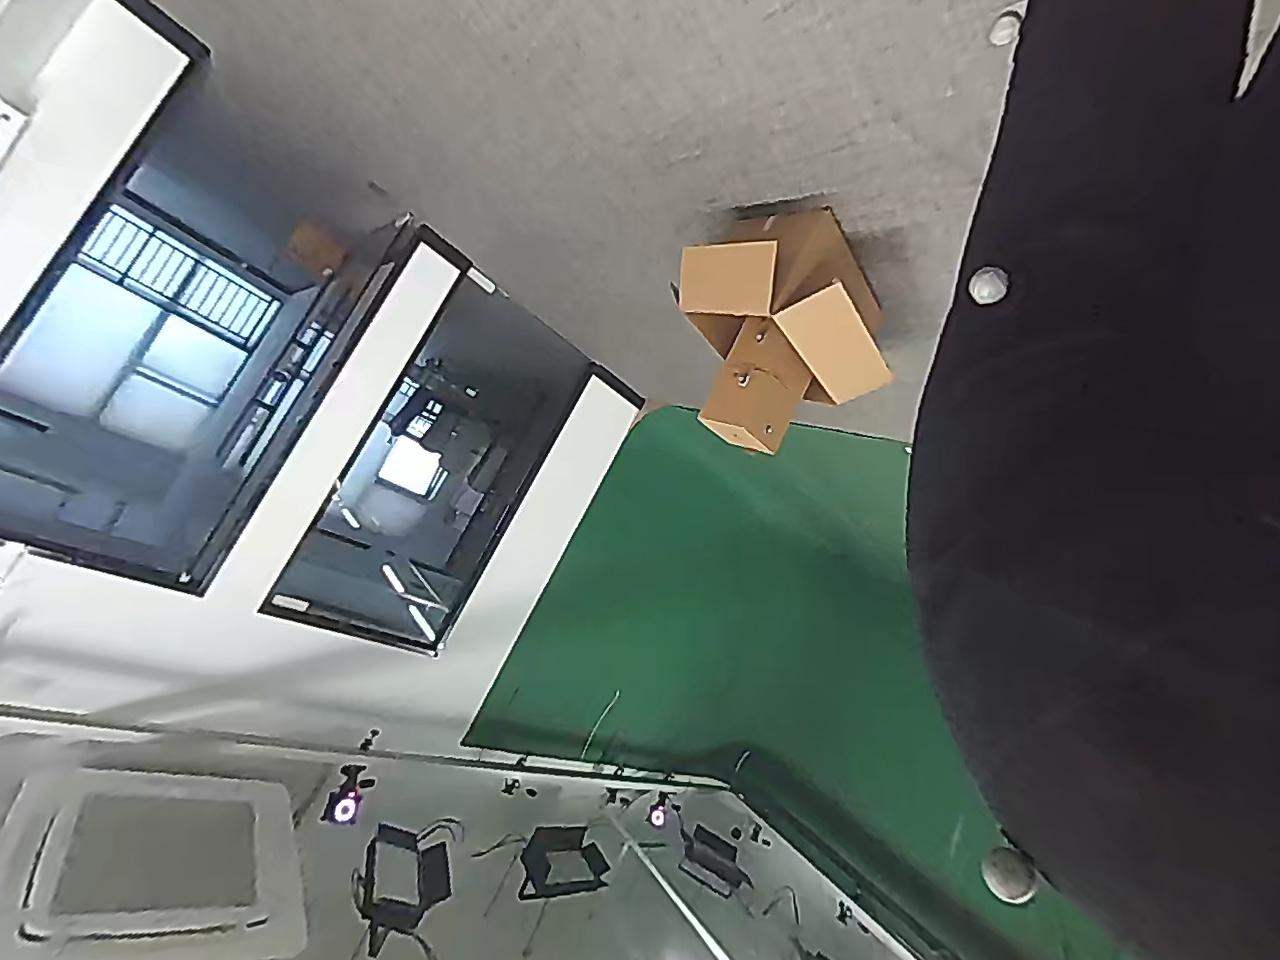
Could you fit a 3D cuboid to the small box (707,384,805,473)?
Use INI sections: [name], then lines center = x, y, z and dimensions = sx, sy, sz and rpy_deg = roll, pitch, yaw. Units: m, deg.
[small box]
center = 0.323, -0.143, 1.479
dimensions = 0.168, 0.176, 0.179
rpy_deg = 19, 170, 47
